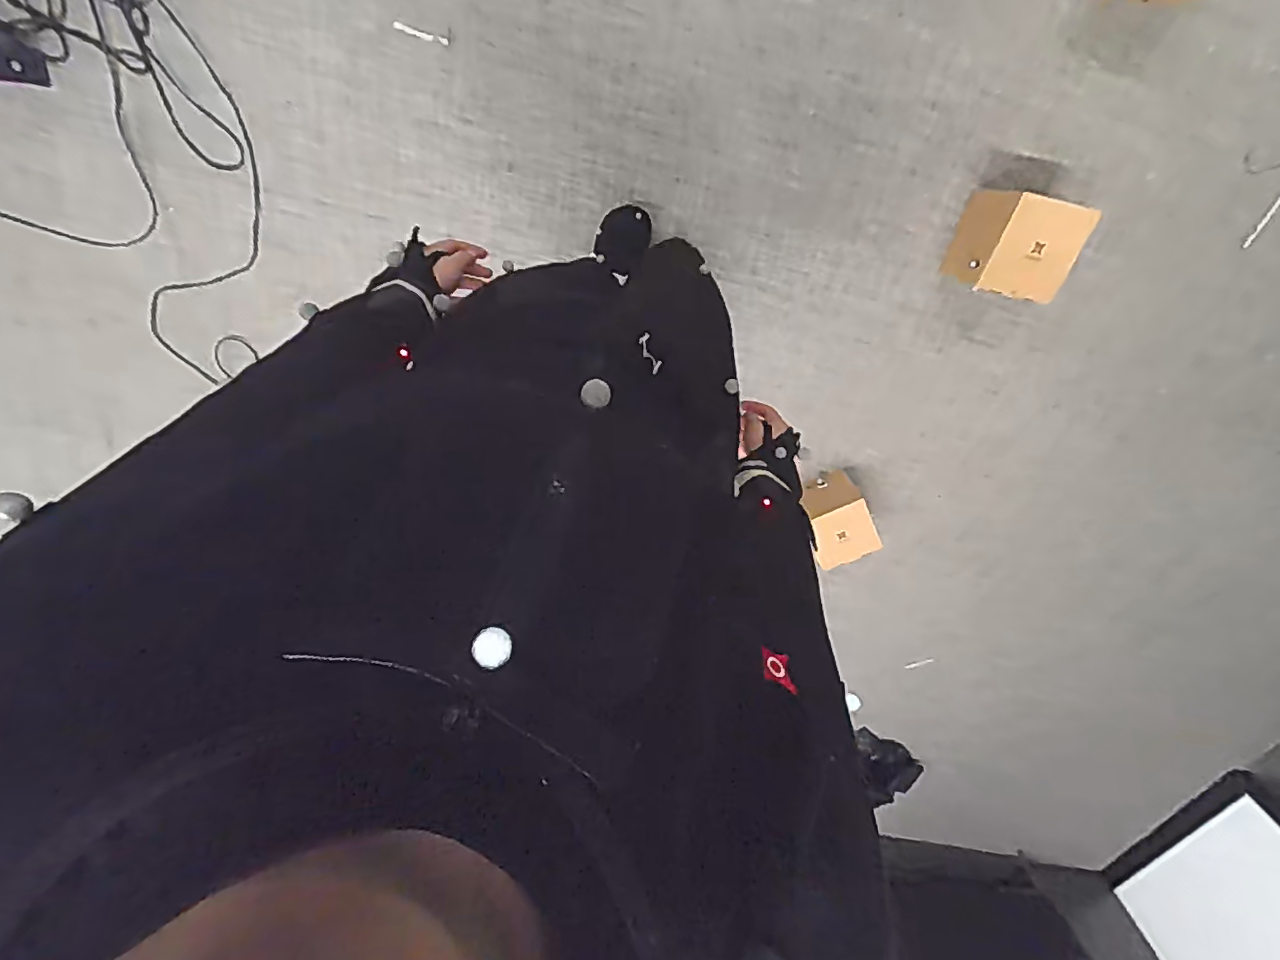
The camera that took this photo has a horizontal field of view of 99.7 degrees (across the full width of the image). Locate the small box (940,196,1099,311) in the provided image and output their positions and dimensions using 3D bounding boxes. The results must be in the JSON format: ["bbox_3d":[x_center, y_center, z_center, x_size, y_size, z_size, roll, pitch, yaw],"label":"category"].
[{"bbox_3d":[0.754,-0.466,1.101,0.168,0.176,0.179,10,120,-6],"label":"small box"}]

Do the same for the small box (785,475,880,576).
[{"bbox_3d":[0.506,0.117,1.436,0.168,0.176,0.179,-26,116,13],"label":"small box"}]
